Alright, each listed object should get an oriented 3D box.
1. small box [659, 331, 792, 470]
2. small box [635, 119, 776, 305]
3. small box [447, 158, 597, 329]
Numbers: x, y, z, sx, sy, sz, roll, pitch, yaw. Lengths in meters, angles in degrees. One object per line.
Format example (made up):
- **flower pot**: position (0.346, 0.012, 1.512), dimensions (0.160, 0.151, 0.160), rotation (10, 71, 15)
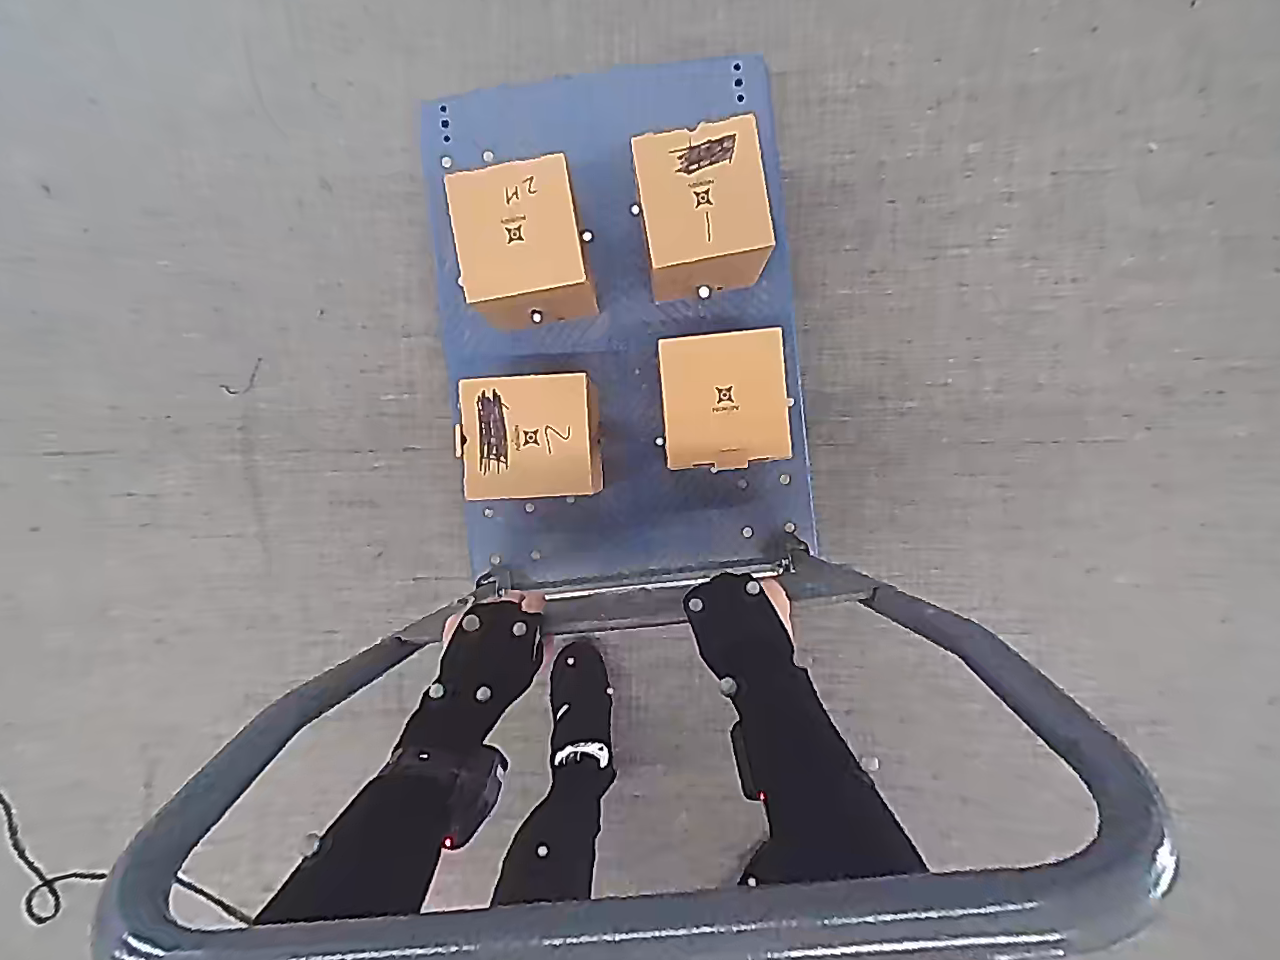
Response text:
- **small box**: position (0.117, -0.107, 0.796), dimensions (0.168, 0.176, 0.179), rotation (-5, 92, 2)
- **small box**: position (0.088, -0.376, 0.788), dimensions (0.168, 0.176, 0.179), rotation (-10, 92, 3)
- **small box**: position (-0.162, -0.332, 0.799), dimensions (0.168, 0.176, 0.179), rotation (-9, 91, 2)
